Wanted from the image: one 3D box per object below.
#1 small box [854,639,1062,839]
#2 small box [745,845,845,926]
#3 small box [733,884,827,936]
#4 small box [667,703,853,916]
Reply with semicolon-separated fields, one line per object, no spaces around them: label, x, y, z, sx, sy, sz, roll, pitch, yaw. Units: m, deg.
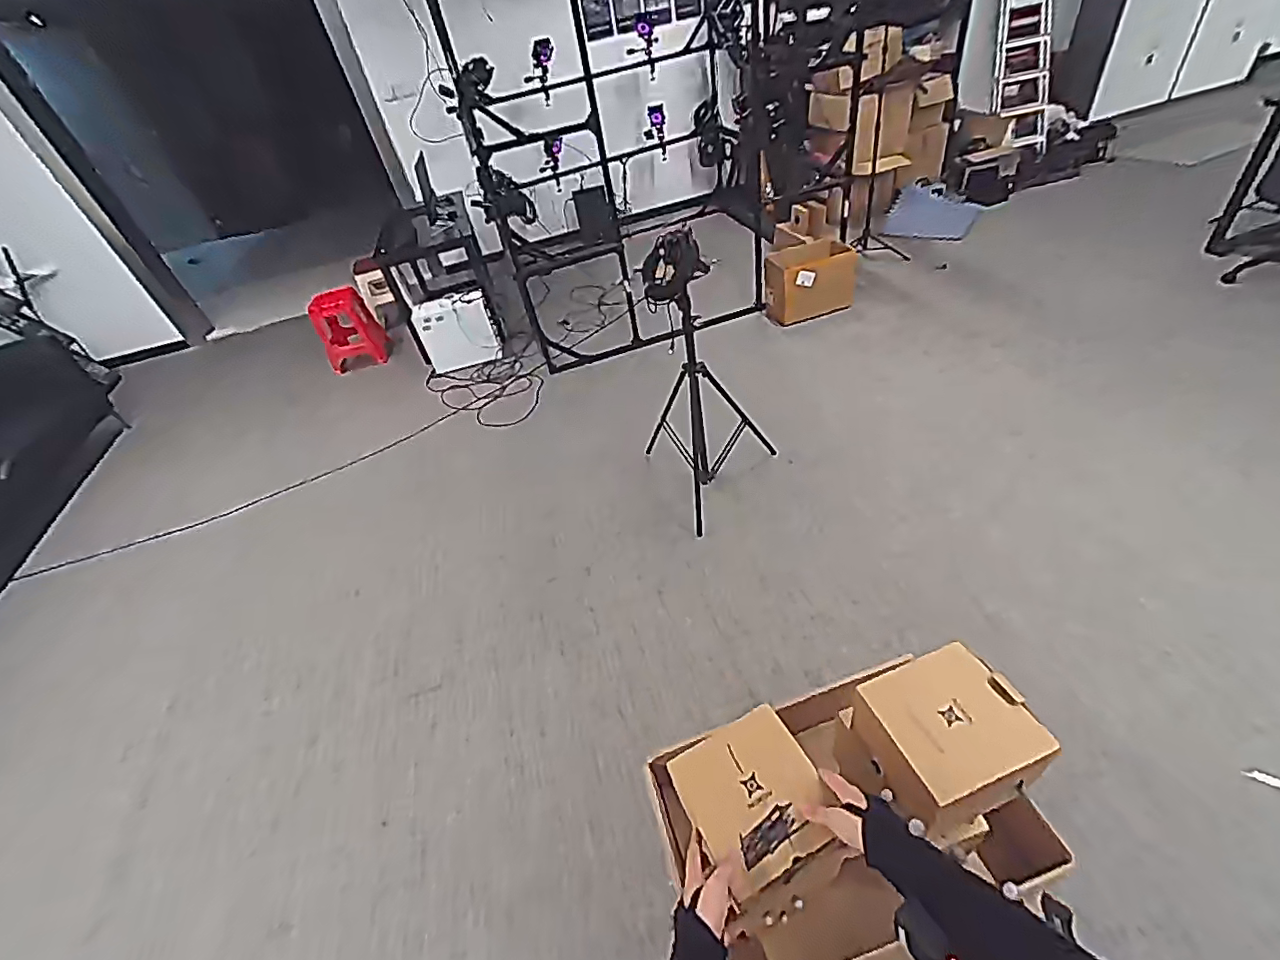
small box;0.421;0.360;0.752;0.179;0.176;0.168;-21;42;-6
small box;0.194;0.552;0.851;0.168;0.176;0.179;-24;43;-10
small box;0.217;0.666;0.968;0.168;0.176;0.179;-24;43;-11
small box;0.158;0.446;0.729;0.168;0.176;0.179;-25;43;-13
